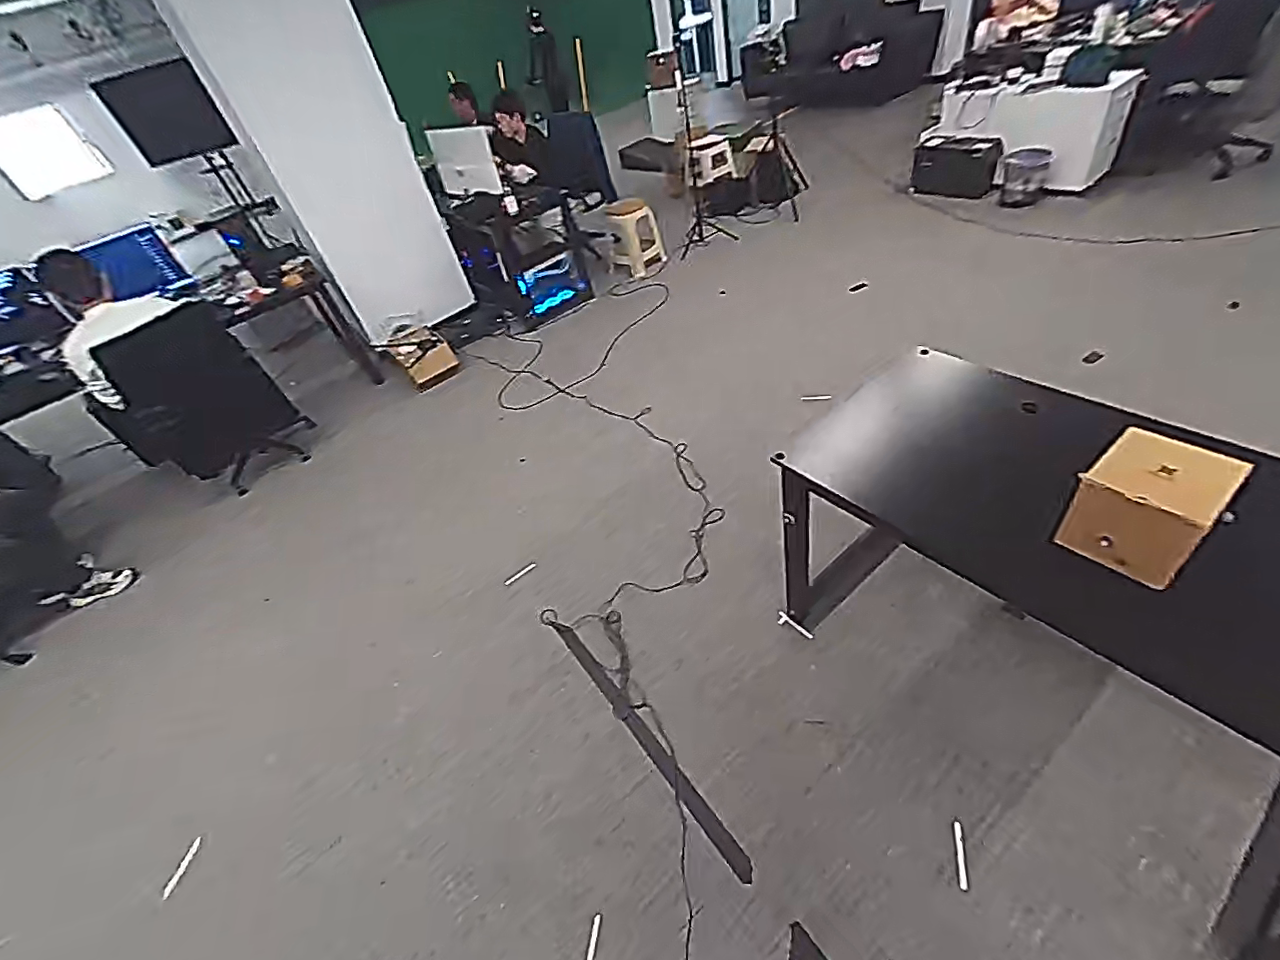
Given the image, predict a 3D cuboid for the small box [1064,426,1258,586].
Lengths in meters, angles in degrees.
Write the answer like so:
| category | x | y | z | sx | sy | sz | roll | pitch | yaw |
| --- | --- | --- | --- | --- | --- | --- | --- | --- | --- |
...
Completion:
| category | x | y | z | sx | sy | sz | roll | pitch | yaw |
| --- | --- | --- | --- | --- | --- | --- | --- | --- | --- |
| small box | 0.876 | 0.043 | 0.928 | 0.179 | 0.176 | 0.168 | -35 | 46 | -20 |
